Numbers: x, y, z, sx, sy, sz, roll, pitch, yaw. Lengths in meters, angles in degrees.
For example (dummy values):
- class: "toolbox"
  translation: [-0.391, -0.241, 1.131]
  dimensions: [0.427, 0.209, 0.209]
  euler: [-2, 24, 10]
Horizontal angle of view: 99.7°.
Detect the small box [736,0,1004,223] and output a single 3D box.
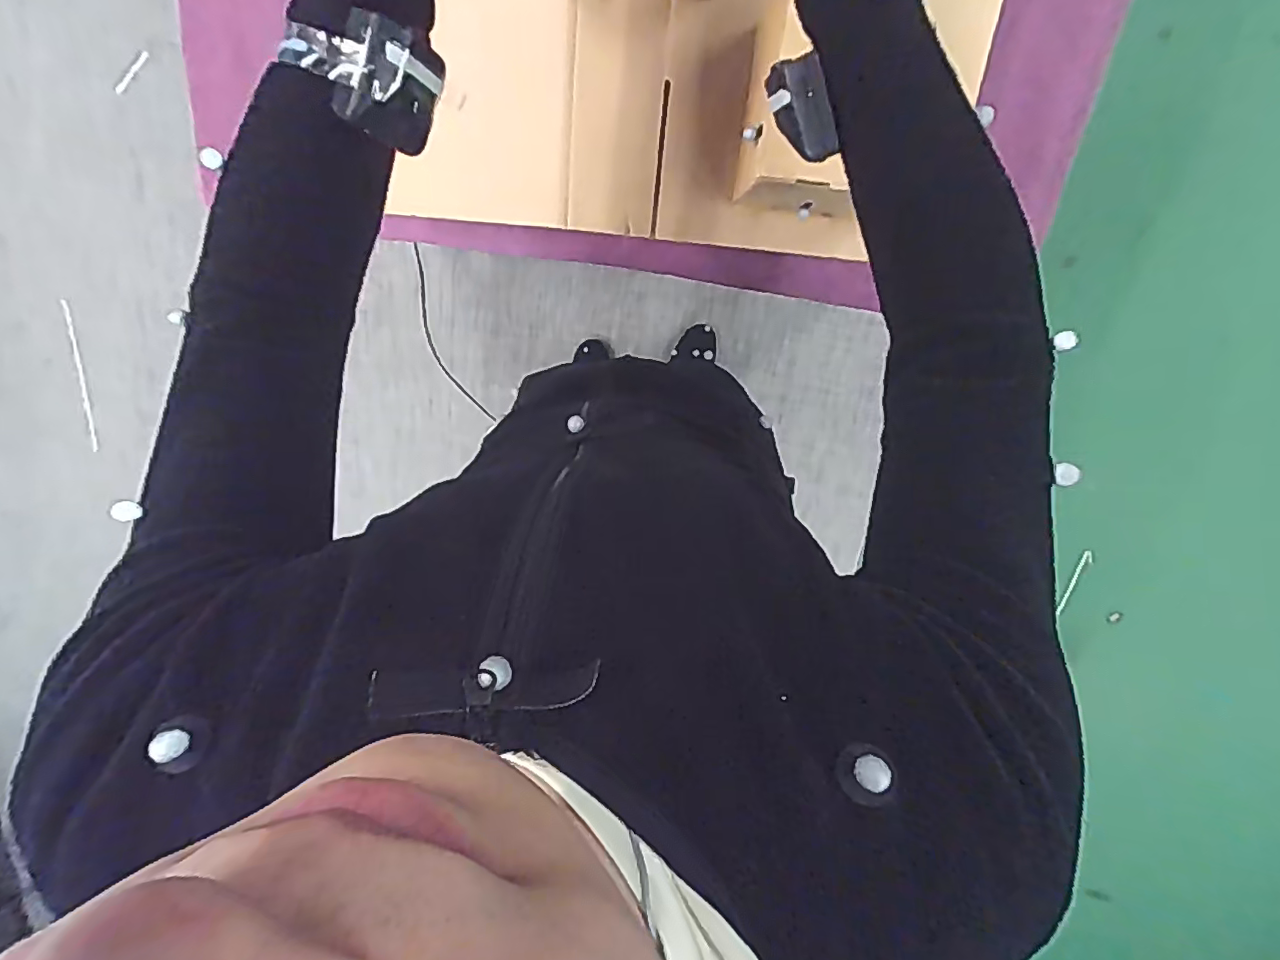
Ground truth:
- class: "small box"
  translation: [0.192, -0.351, 0.504]
  dimensions: [0.168, 0.176, 0.179]
  euler: [6, 111, -1]
